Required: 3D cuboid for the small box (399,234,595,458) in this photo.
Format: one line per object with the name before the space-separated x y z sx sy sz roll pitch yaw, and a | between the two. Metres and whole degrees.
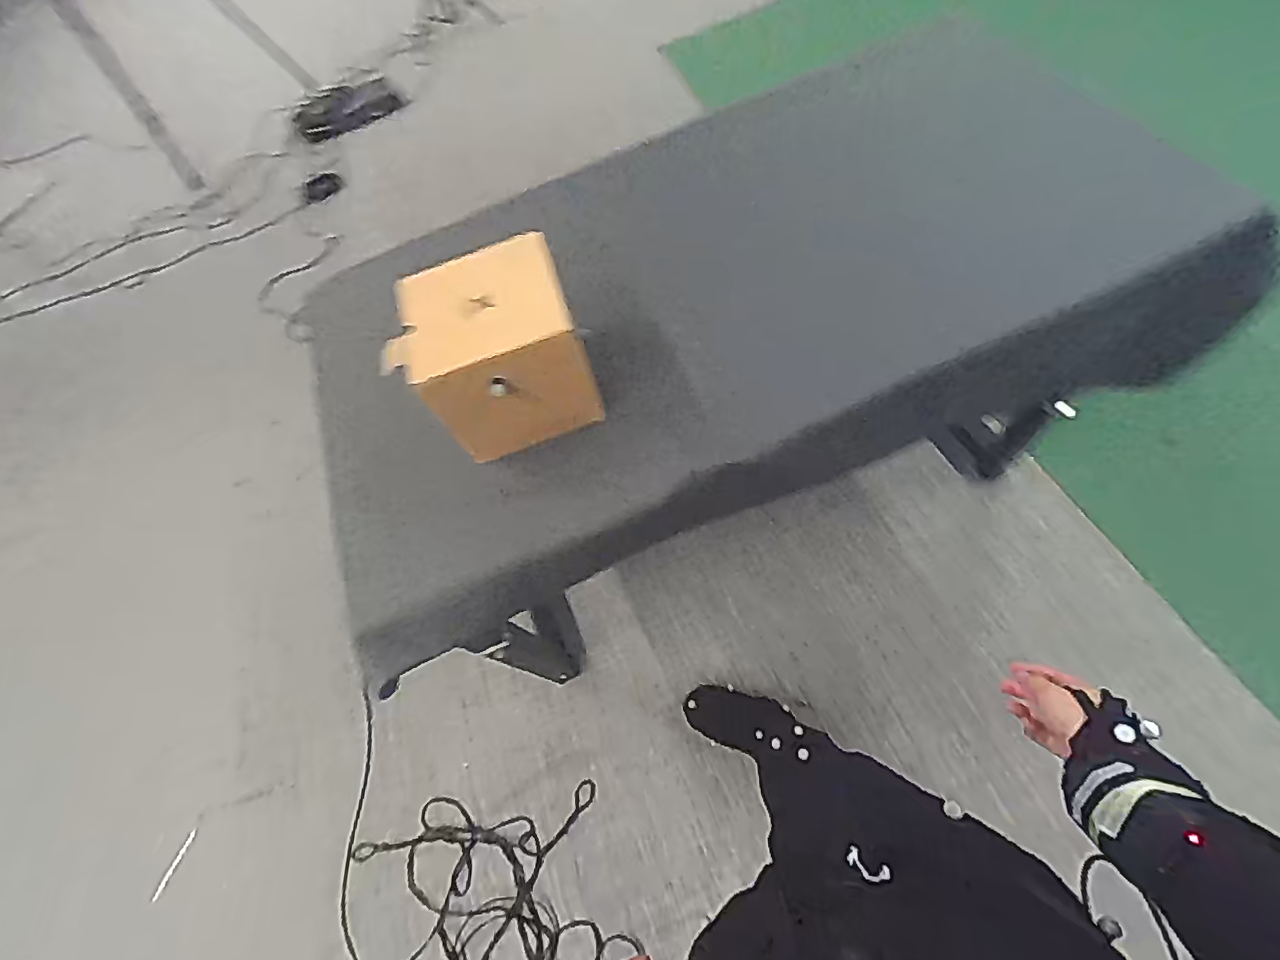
small box | -0.162 -0.153 0.656 0.179 0.176 0.168 -20 61 0
